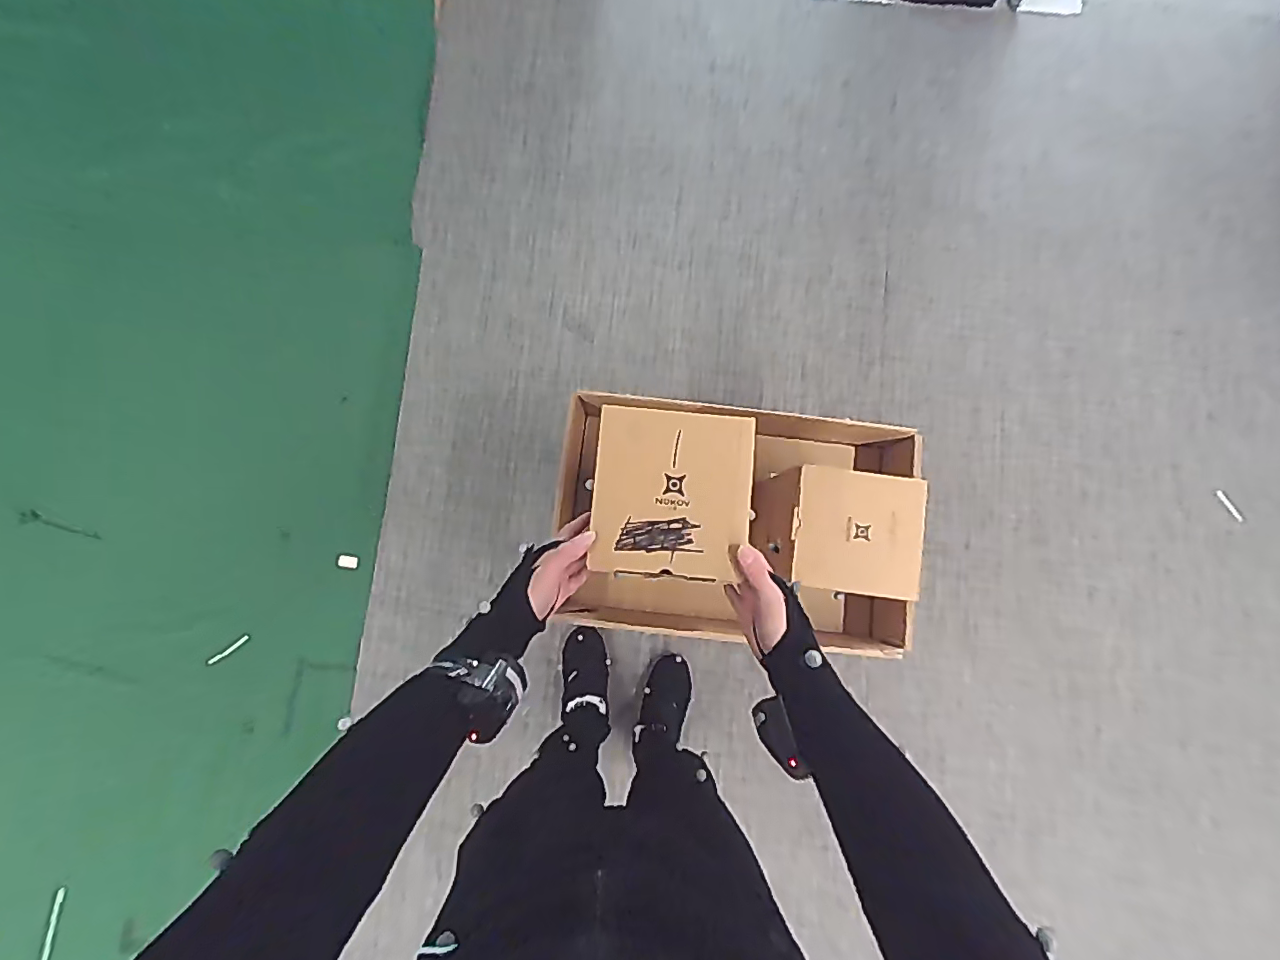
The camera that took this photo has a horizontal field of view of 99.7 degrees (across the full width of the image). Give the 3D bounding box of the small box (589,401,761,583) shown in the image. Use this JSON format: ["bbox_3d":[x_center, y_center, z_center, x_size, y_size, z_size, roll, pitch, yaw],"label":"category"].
[{"bbox_3d":[0.036,0.020,0.634,0.168,0.176,0.179,6,82,-1],"label":"small box"}]

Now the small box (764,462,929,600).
[{"bbox_3d":[0.293,0.077,0.801,0.179,0.176,0.168,8,84,-1],"label":"small box"}]
